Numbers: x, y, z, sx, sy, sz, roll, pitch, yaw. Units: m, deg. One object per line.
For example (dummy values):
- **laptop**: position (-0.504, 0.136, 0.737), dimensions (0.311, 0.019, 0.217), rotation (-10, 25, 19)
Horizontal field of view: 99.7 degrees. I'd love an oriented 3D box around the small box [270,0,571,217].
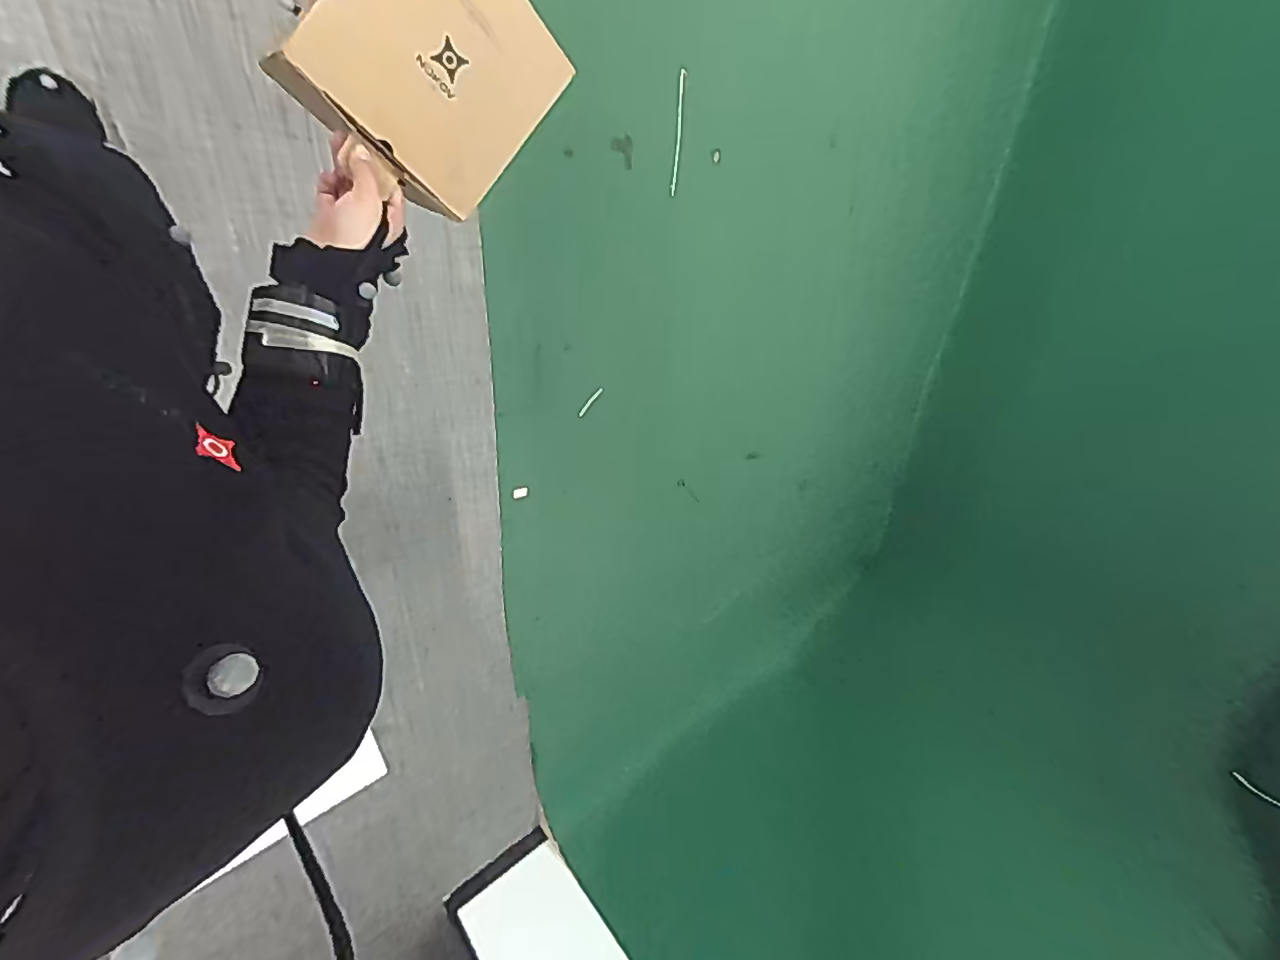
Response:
- **small box**: position (-0.202, -0.376, 0.490), dimensions (0.179, 0.176, 0.168), rotation (-54, 139, 2)
